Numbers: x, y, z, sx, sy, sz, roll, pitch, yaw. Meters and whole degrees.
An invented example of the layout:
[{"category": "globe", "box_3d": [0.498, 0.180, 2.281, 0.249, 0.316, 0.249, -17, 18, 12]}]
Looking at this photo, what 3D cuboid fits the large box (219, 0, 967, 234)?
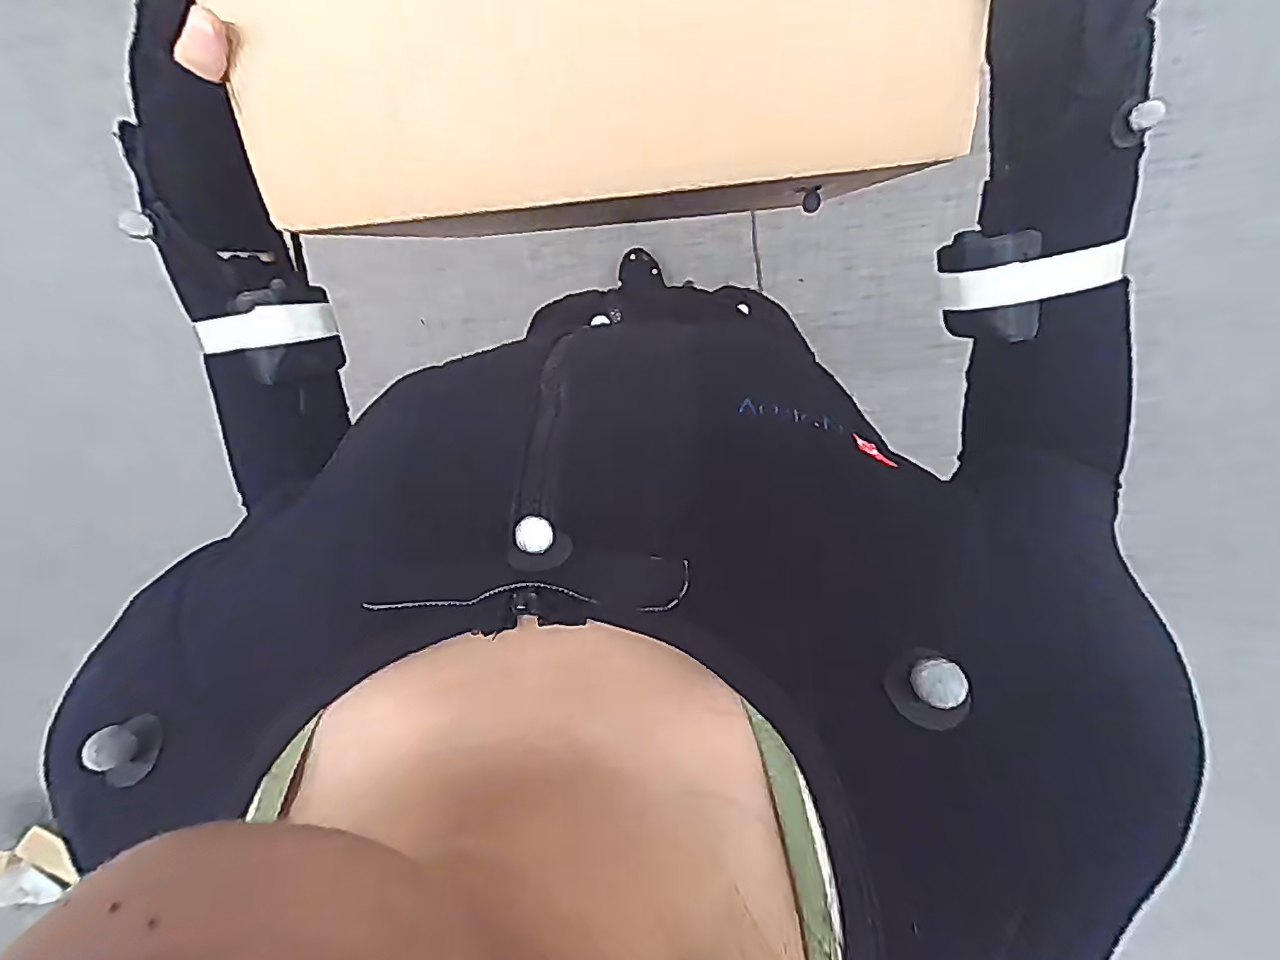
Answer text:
[{"category": "large box", "box_3d": [-0.026, -0.370, 0.400, 0.408, 0.320, 0.320, -4, 113, 4]}]
